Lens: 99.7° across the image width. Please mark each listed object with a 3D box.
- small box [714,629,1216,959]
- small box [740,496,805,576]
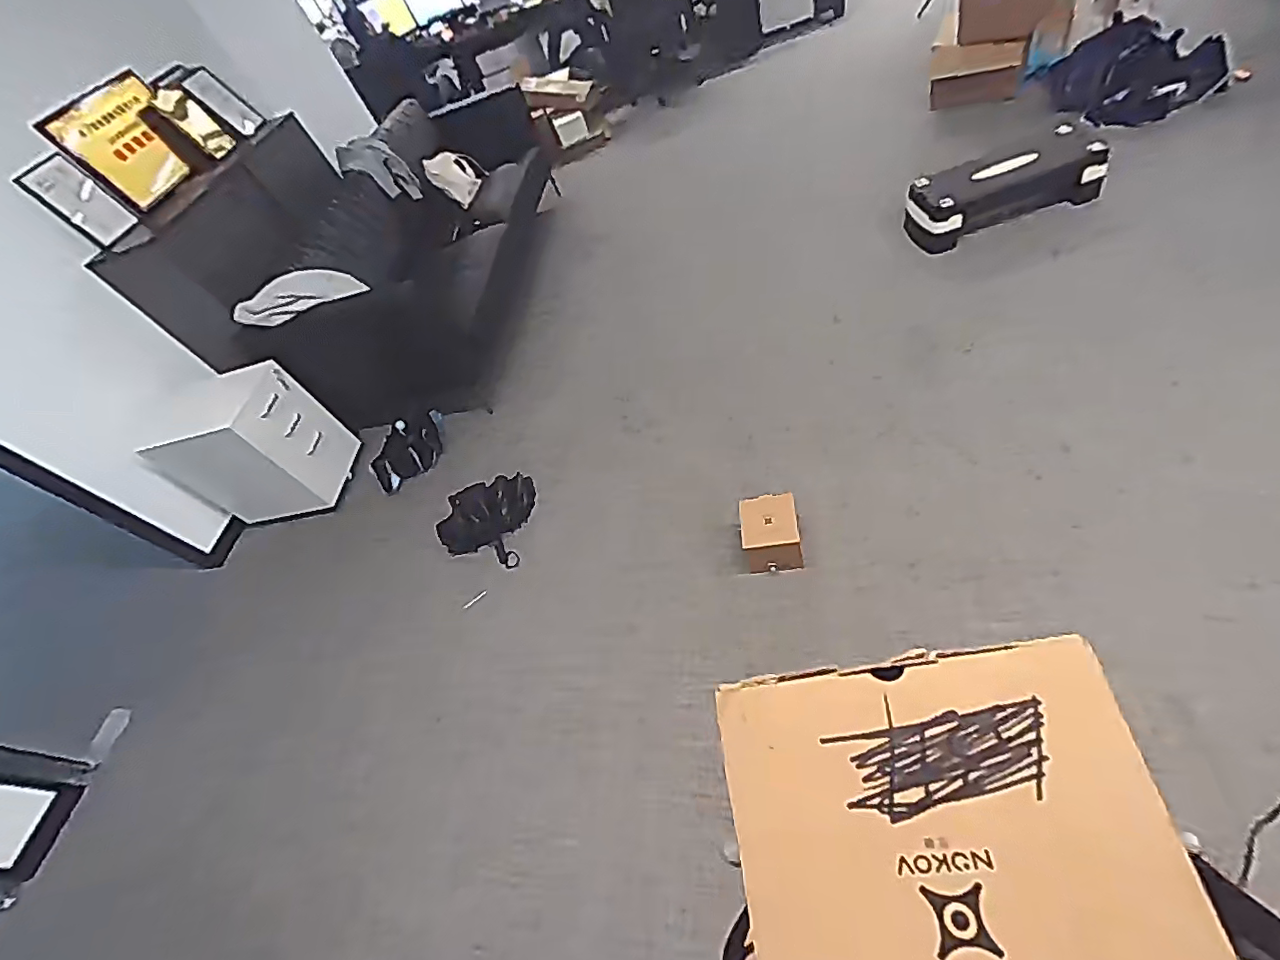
[{"bbox_3d":[0.143,0.193,0.289,0.168,0.176,0.179,-13,63,11],"label":"small box"},{"bbox_3d":[0.409,0.177,1.672,0.168,0.176,0.179,-11,52,17],"label":"small box"}]
